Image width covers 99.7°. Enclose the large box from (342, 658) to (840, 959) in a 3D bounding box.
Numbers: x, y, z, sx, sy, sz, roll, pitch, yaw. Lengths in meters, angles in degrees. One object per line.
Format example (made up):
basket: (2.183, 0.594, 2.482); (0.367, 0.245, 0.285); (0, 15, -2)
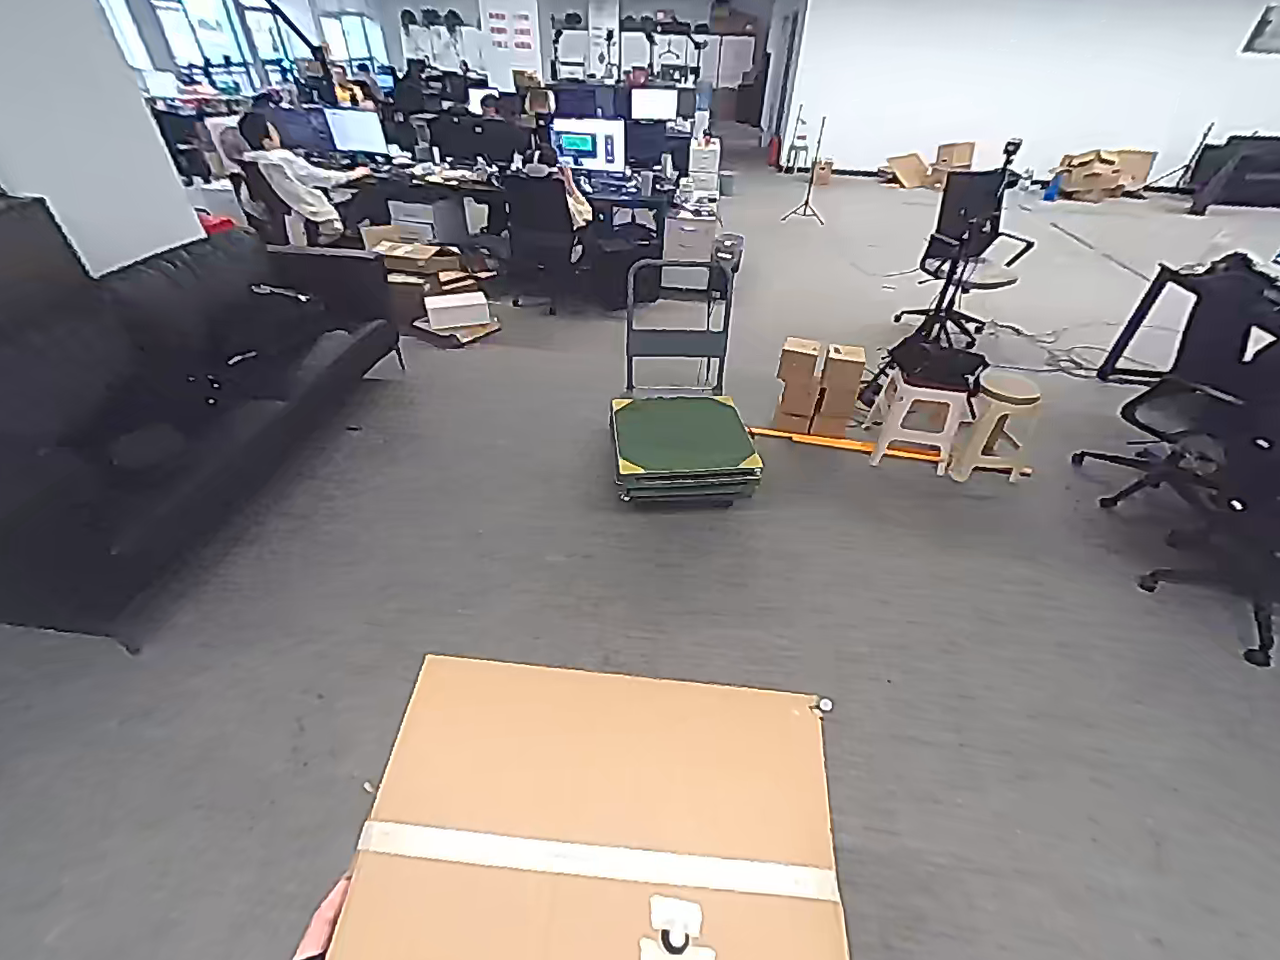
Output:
large box: (-0.039, 0.413, 0.592); (0.408, 0.320, 0.320); (5, 54, 0)
